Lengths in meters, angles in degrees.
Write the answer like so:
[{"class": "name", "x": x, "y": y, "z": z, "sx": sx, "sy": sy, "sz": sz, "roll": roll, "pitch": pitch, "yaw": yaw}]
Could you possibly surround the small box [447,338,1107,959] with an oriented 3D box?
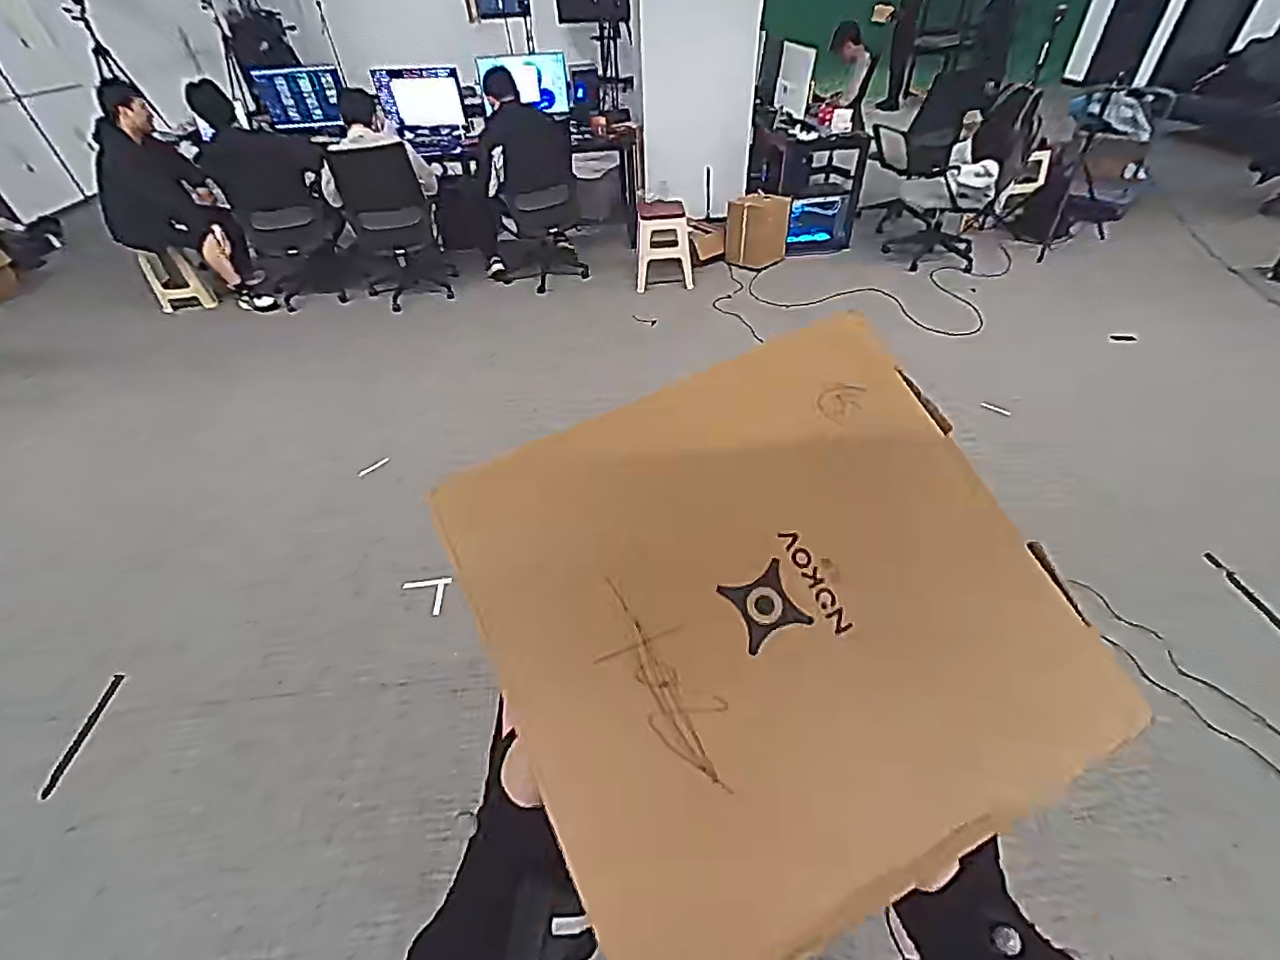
[{"class": "small box", "x": 0.040, "y": 0.070, "z": 0.260, "sx": 0.179, "sy": 0.176, "sz": 0.168, "roll": -26, "pitch": 72, "yaw": -8}]
